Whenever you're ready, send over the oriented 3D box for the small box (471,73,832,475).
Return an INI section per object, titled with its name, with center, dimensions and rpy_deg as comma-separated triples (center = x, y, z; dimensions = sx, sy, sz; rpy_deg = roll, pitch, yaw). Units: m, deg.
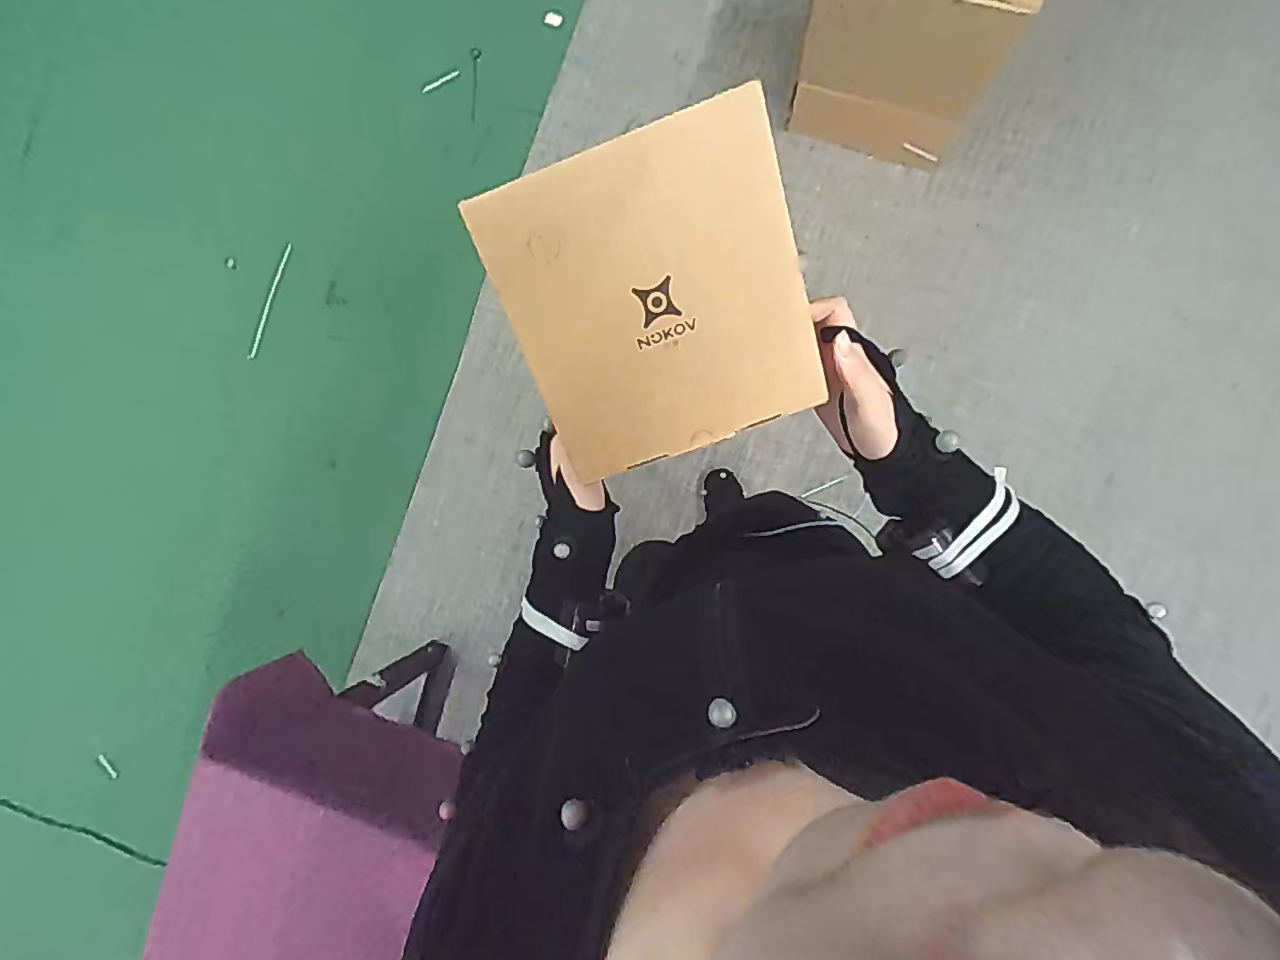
[small box]
center = 0.010, -0.133, 0.379
dimensions = 0.168, 0.176, 0.179
rpy_deg = -19, 113, 6
